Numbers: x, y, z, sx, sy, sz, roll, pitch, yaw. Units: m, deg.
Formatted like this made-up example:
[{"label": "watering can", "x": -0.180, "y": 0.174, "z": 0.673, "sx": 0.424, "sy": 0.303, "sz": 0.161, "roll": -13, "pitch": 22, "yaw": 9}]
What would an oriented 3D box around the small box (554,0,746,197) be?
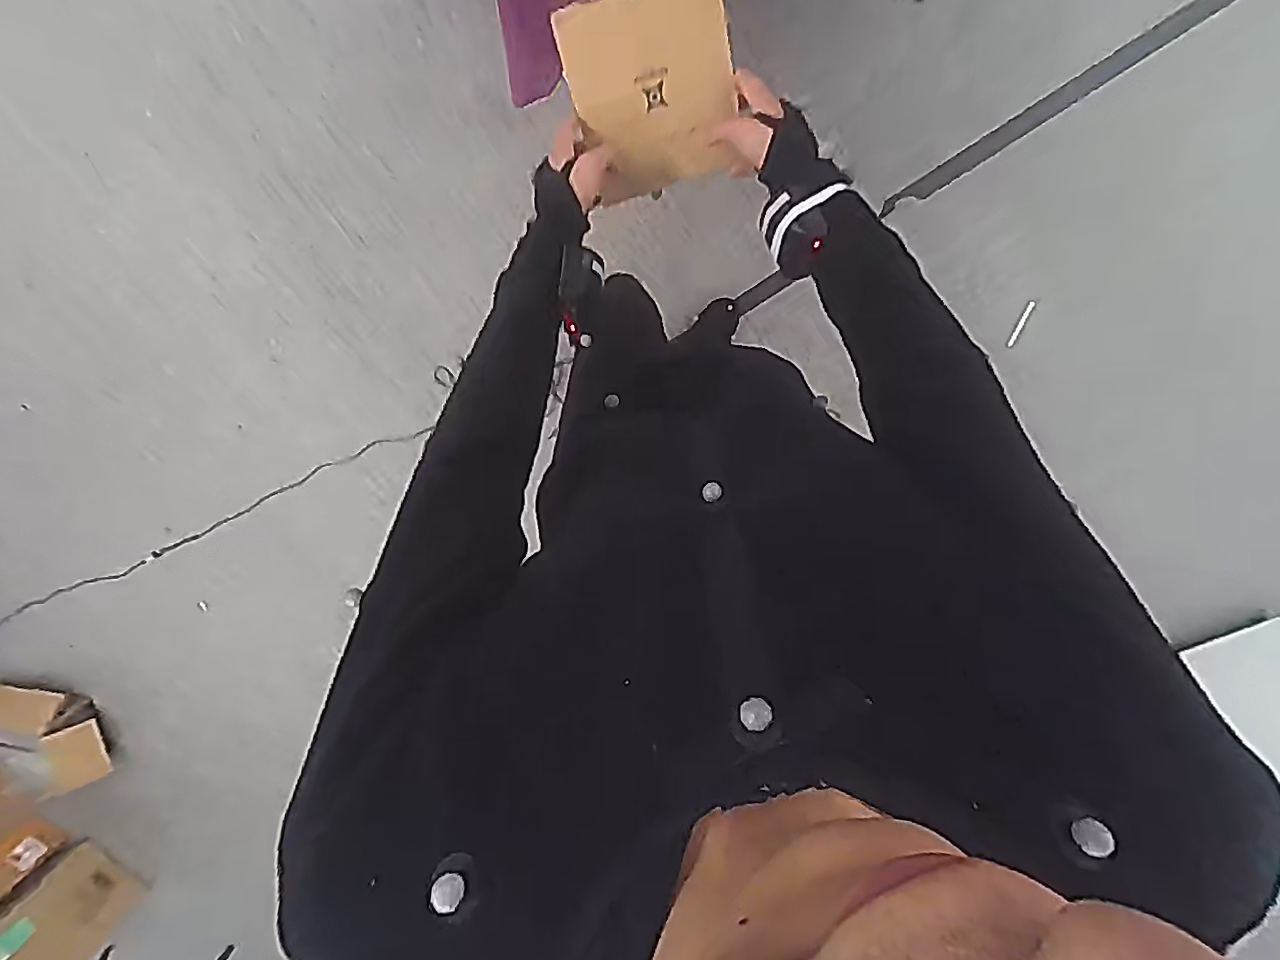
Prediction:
[{"label": "small box", "x": 0.013, "y": -0.441, "z": 0.614, "sx": 0.168, "sy": 0.176, "sz": 0.179, "roll": -13, "pitch": 121, "yaw": 8}]
